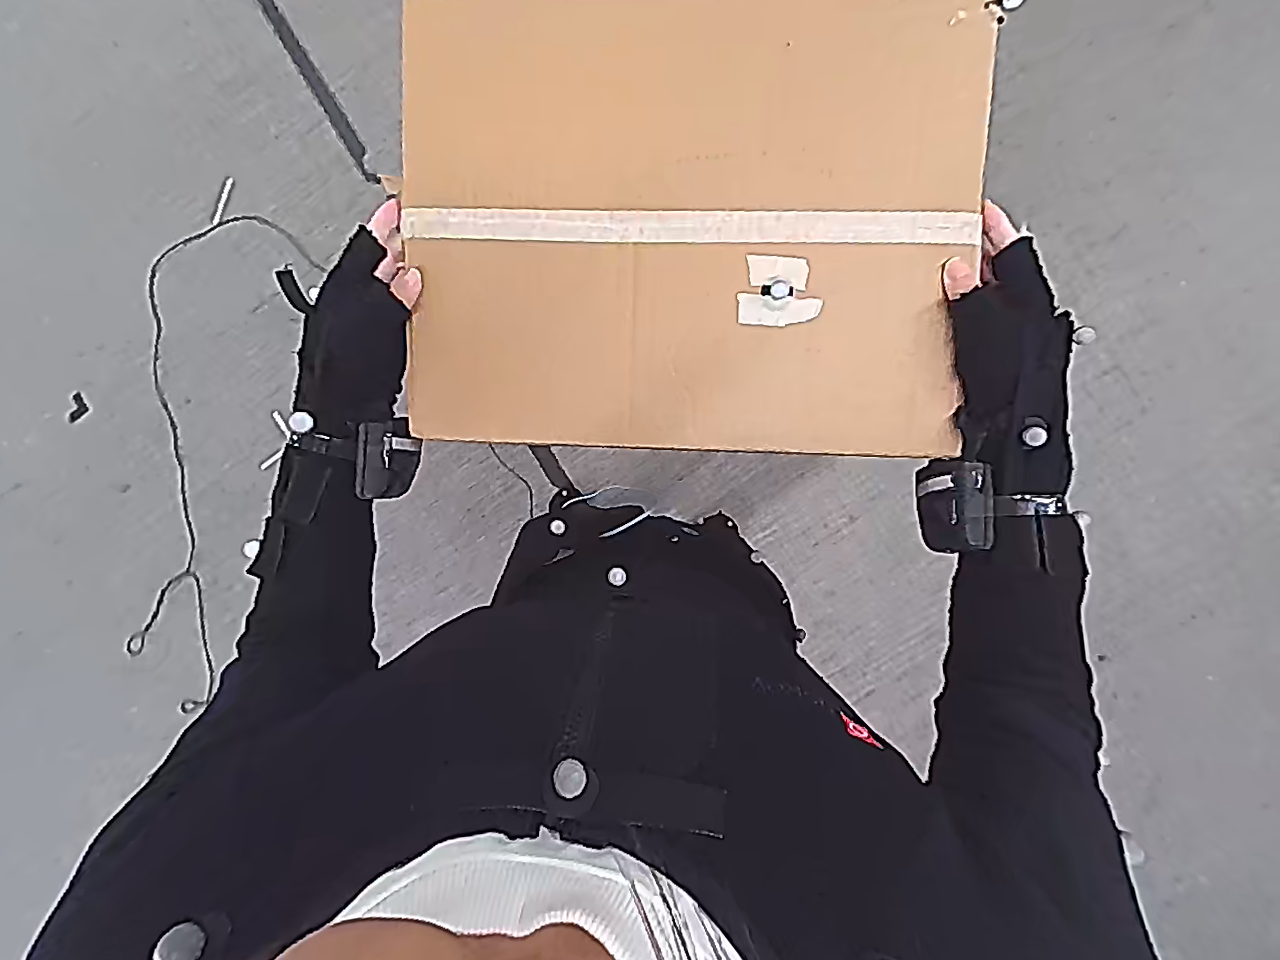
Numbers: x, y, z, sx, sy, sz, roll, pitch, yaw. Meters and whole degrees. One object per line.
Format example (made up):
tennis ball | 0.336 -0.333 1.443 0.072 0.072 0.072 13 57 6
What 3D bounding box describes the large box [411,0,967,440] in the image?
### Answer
large box | 0.034 -0.201 0.546 0.408 0.320 0.320 1 96 2
